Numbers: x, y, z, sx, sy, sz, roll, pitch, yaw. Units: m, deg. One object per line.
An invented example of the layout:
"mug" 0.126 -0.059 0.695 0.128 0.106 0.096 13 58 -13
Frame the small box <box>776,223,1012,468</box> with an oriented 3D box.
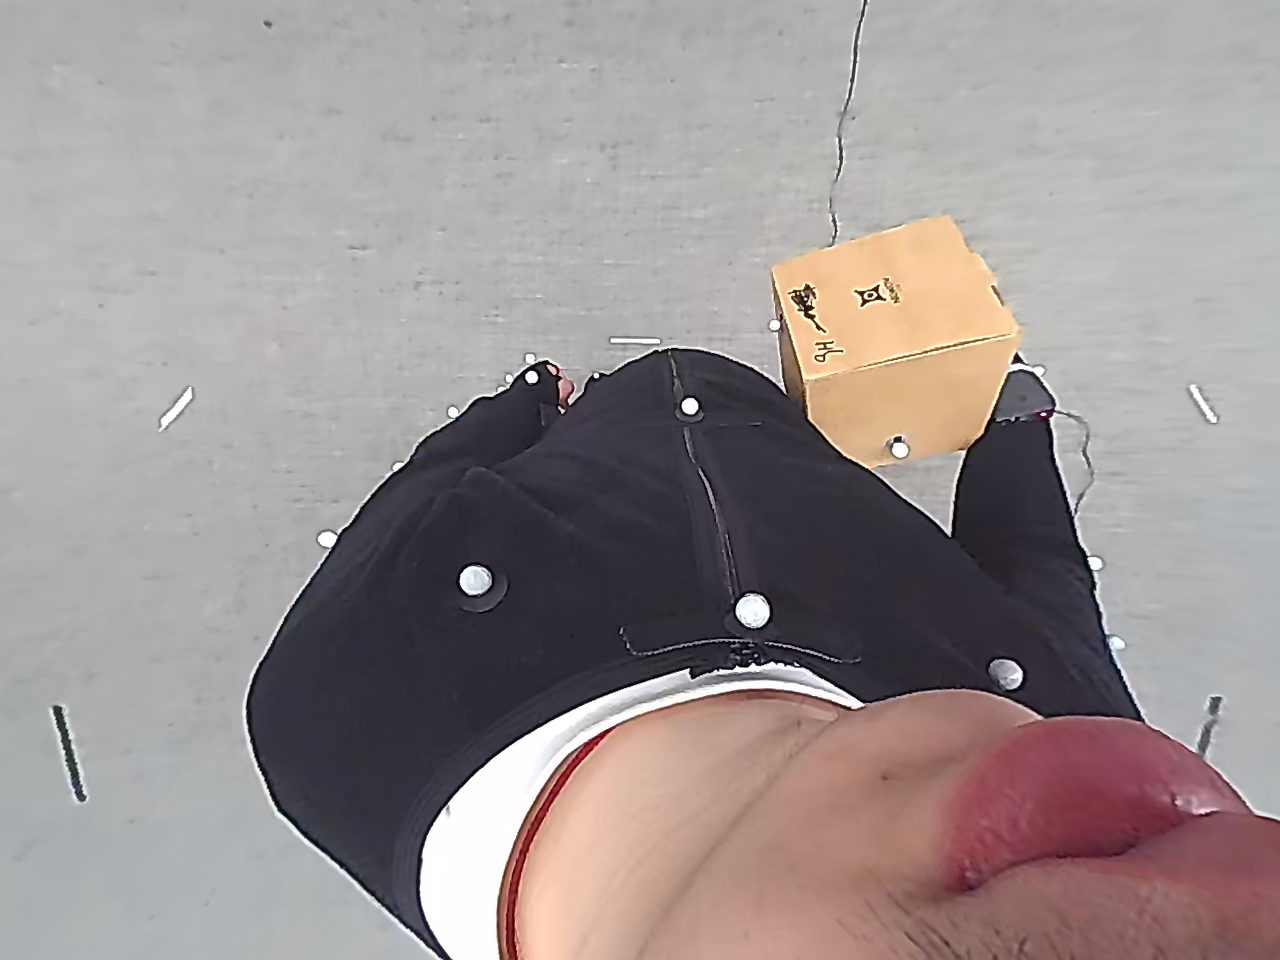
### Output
"small box" 0.252 -0.134 0.583 0.179 0.168 0.176 -11 145 12
